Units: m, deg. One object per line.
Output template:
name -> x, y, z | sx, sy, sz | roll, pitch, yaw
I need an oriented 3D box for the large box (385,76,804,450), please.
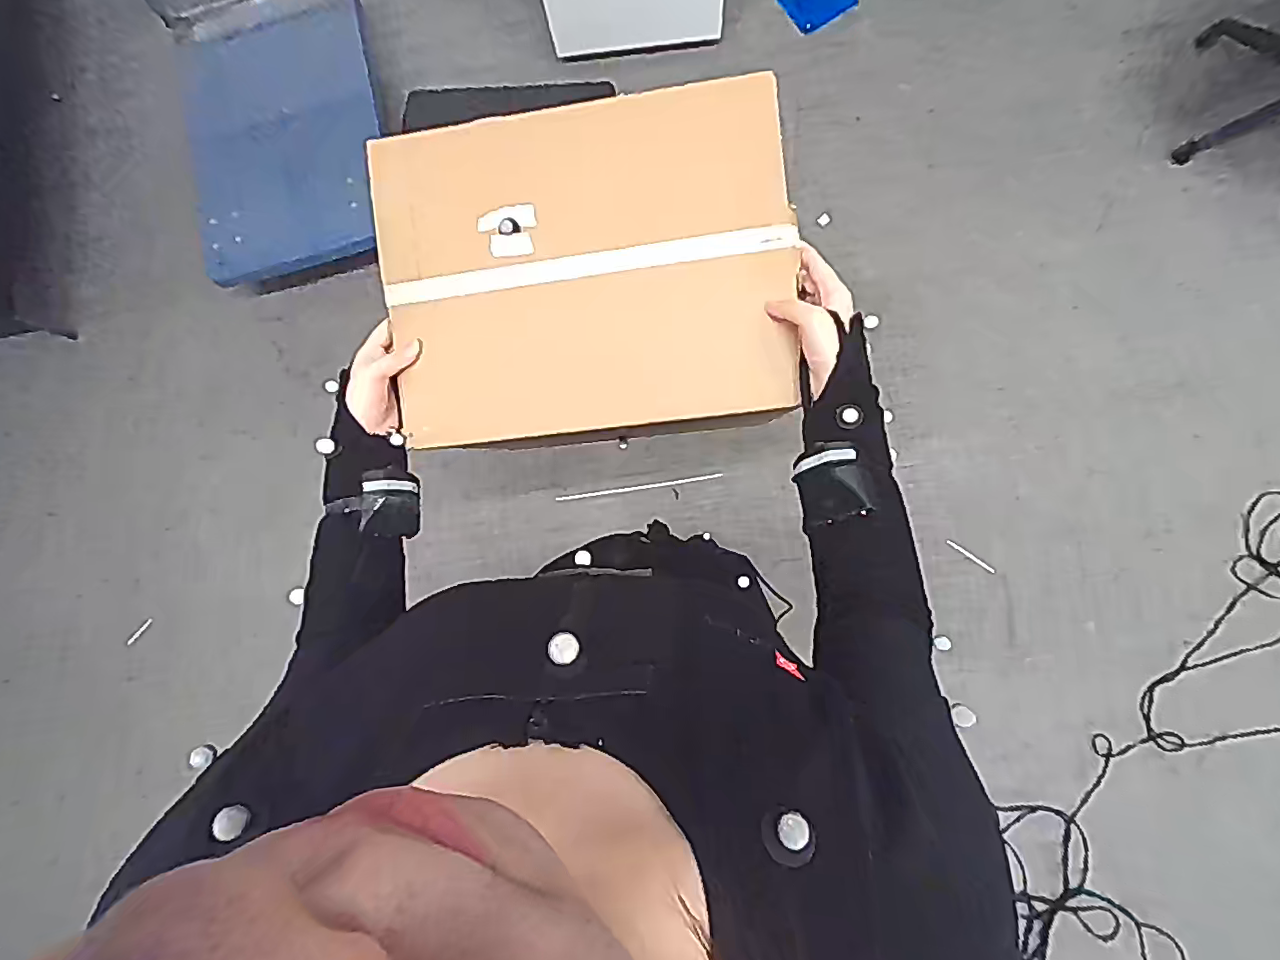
large box -> -0.034, -0.217, 0.690 | 0.408, 0.320, 0.320 | -6, 92, 8
